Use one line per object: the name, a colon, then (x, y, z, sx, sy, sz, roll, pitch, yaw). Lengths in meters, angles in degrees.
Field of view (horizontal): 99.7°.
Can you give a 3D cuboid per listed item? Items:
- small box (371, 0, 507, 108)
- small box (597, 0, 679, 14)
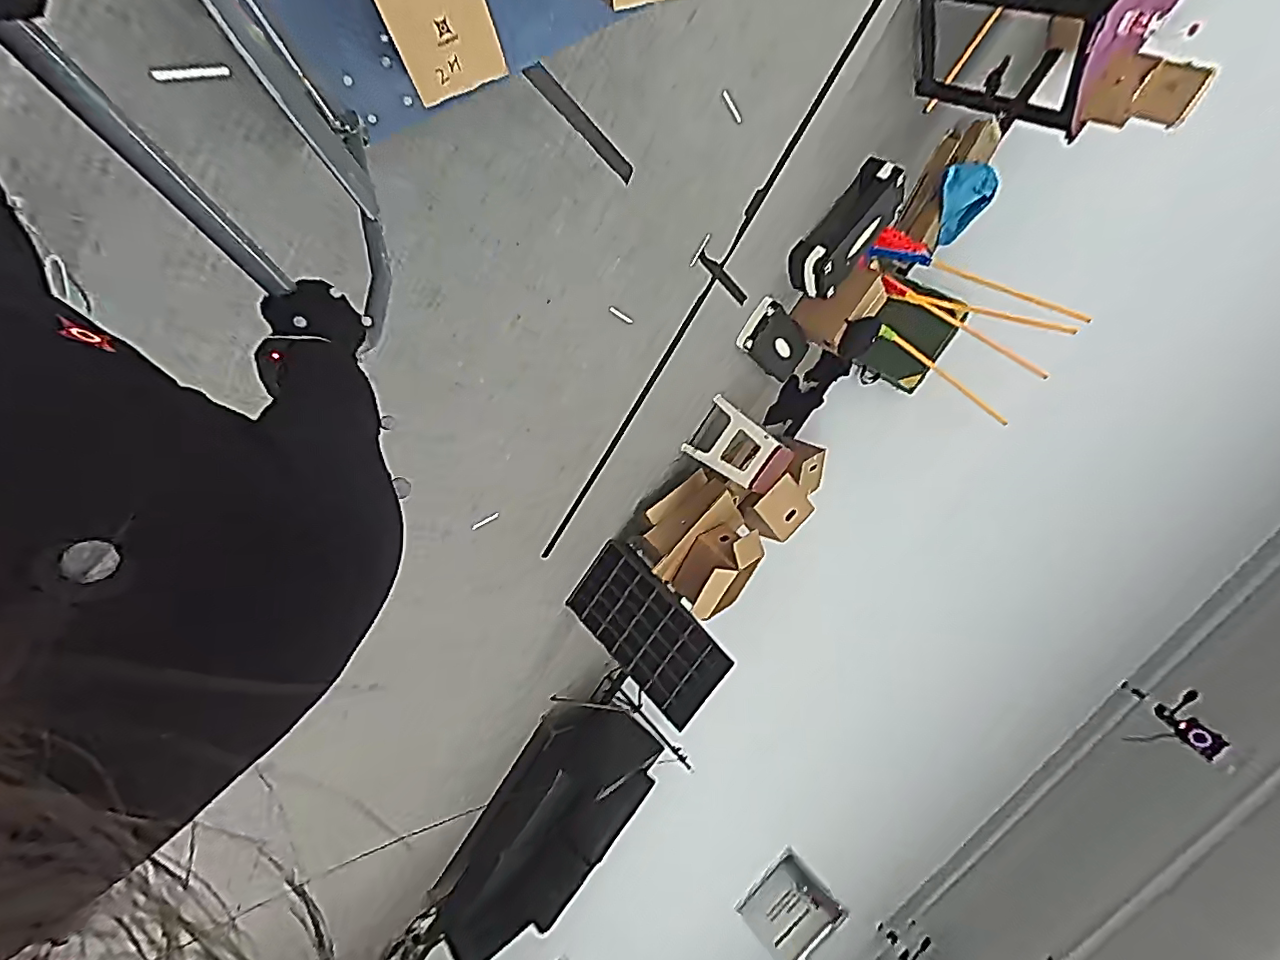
small box: (-0.356, -0.792, 0.930, 0.168, 0.176, 0.179, -26, 149, -5)
small box: (-0.009, -0.969, 0.955, 0.179, 0.176, 0.168, -22, 148, -10)
